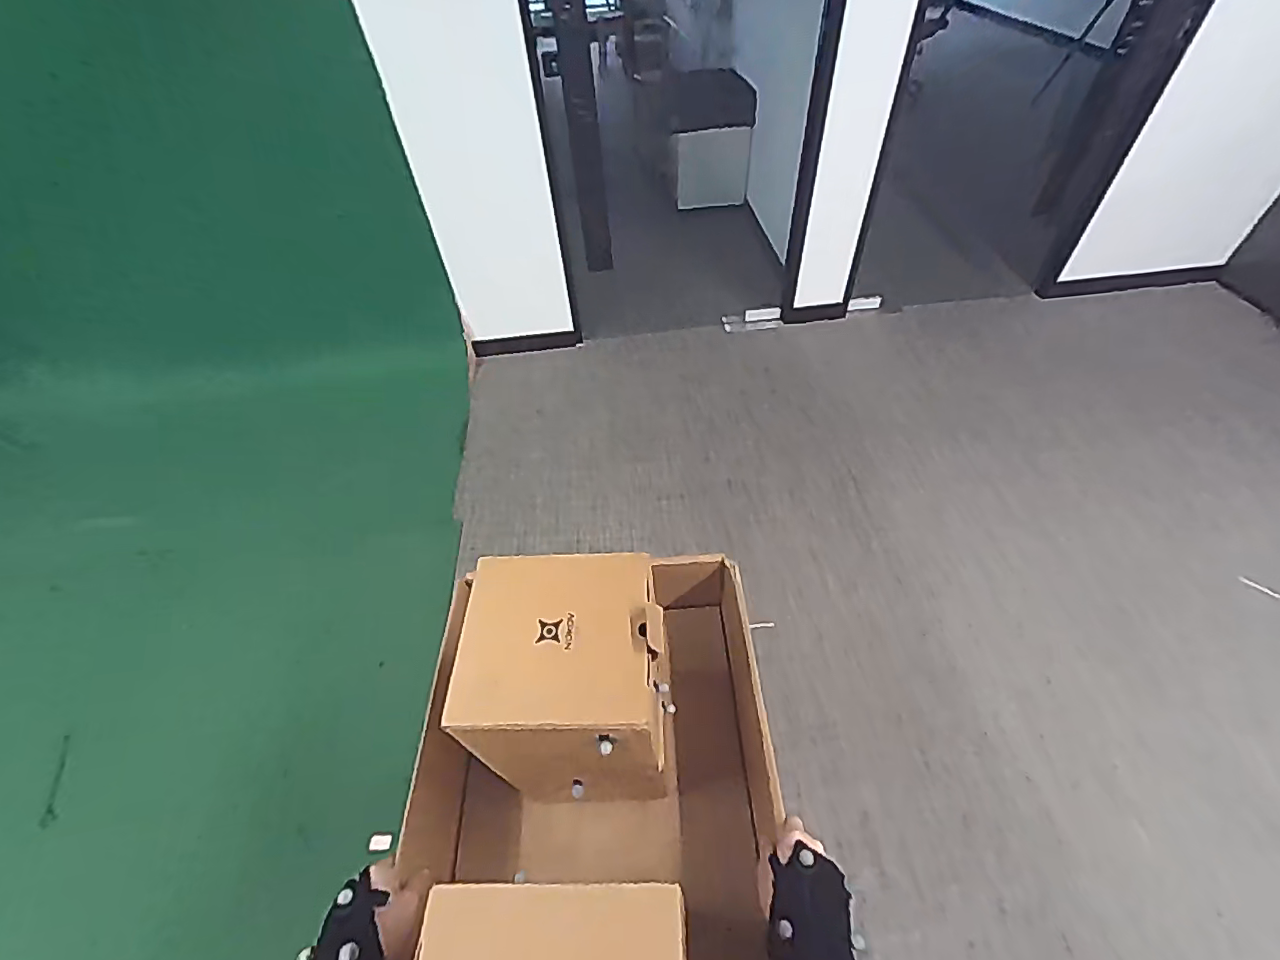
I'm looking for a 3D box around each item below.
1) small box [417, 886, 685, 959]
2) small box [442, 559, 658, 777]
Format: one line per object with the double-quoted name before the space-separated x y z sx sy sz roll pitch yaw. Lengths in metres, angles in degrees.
"small box" -0.055 0.396 0.382 0.179 0.176 0.168 -3 50 2
"small box" -0.073 0.196 0.555 0.179 0.176 0.168 -2 50 2
